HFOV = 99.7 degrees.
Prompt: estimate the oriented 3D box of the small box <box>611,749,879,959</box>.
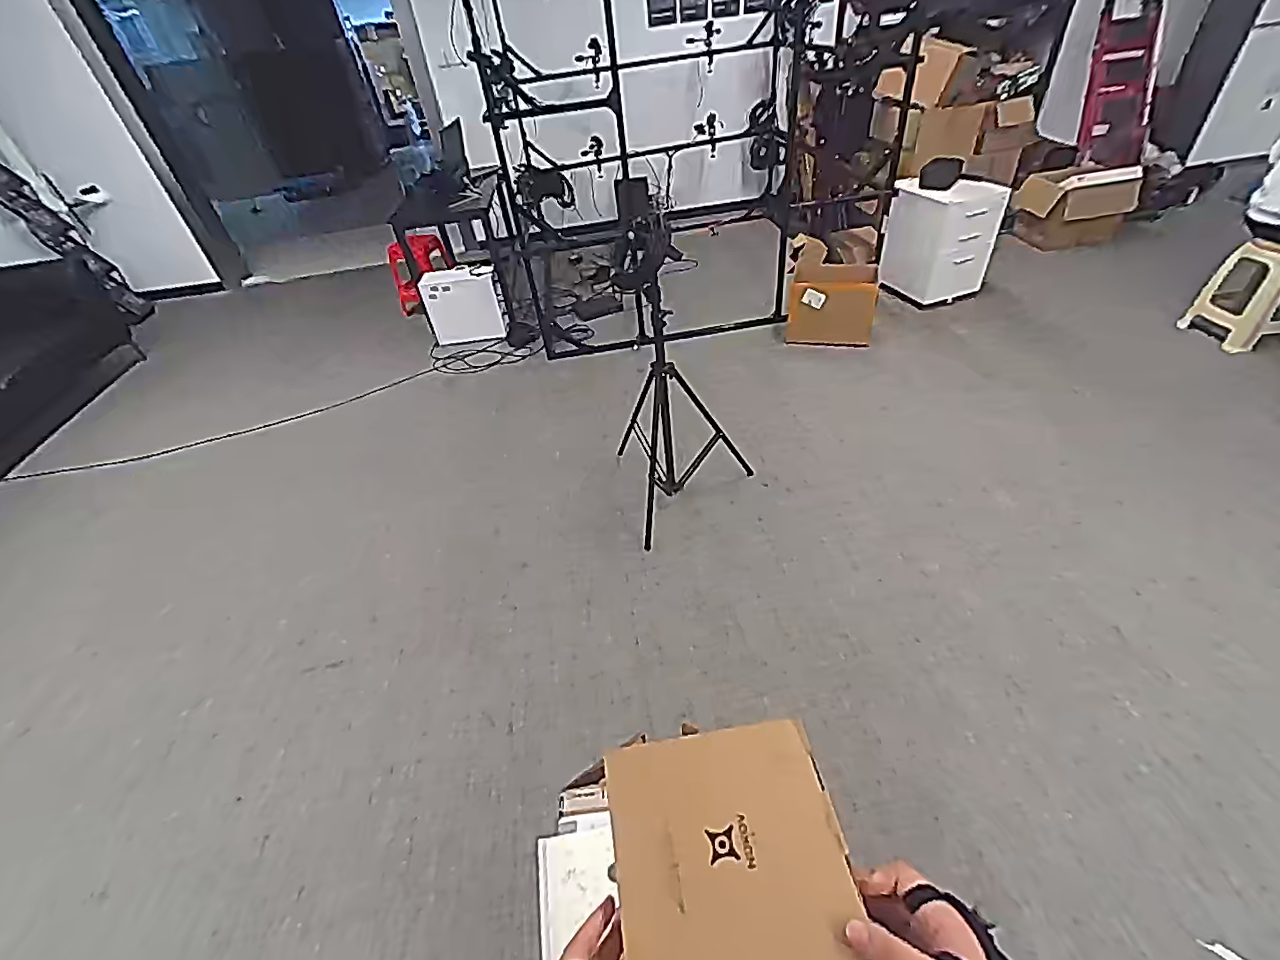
[{"bbox_3d":[0.077,0.359,0.471,0.179,0.176,0.168,-10,46,-3],"label":"small box"}]
